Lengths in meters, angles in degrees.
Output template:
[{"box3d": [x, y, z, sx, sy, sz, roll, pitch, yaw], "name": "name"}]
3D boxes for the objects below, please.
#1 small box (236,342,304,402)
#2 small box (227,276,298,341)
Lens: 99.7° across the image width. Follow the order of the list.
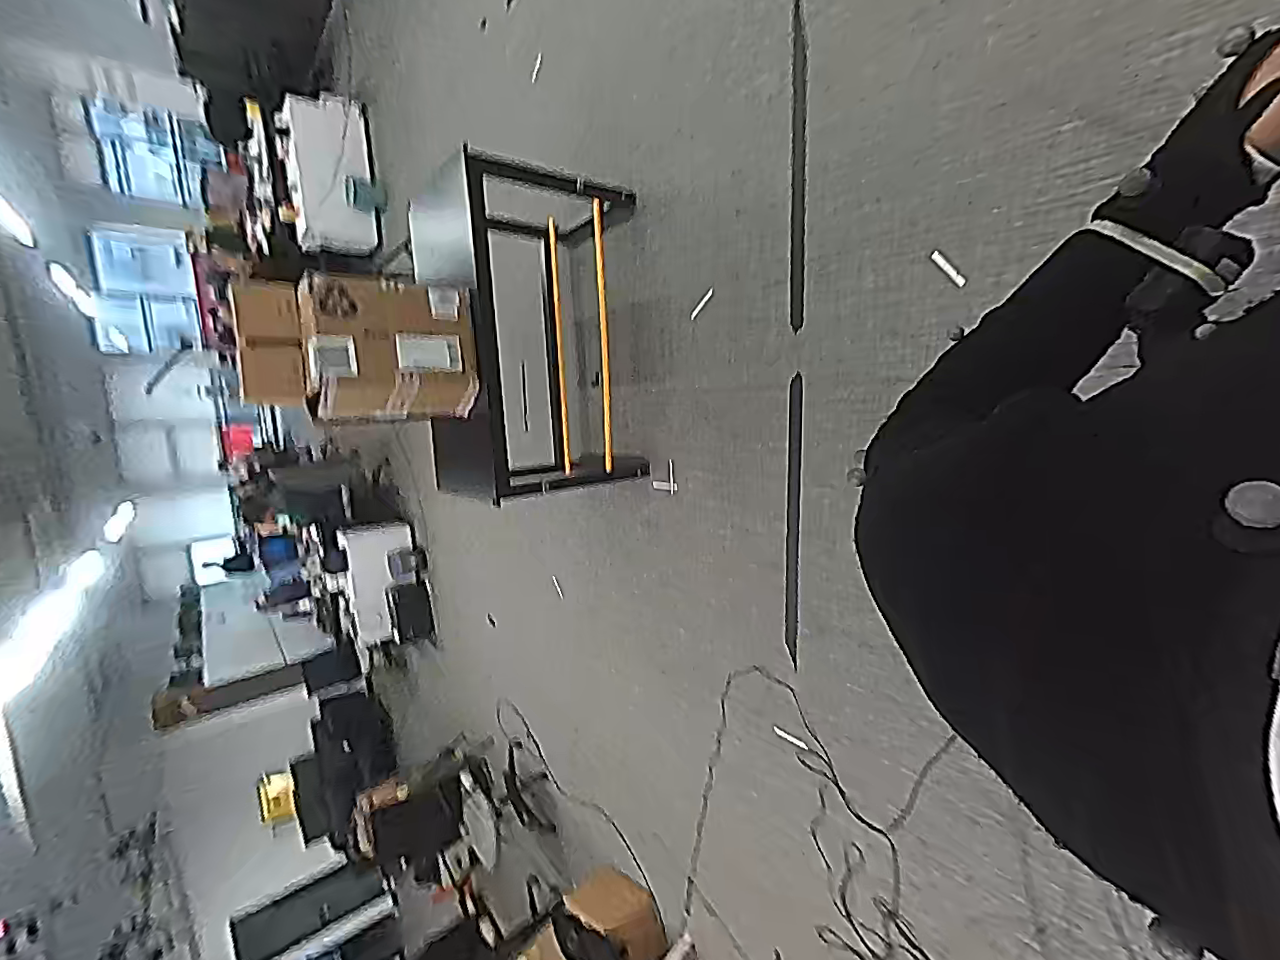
[{"box3d": [-1.199, -0.345, 1.754, 0.179, 0.176, 0.168, 0, 95, 53], "name": "small box"}, {"box3d": [-1.210, -0.543, 1.735, 0.179, 0.176, 0.168, 3, 100, 53], "name": "small box"}]
